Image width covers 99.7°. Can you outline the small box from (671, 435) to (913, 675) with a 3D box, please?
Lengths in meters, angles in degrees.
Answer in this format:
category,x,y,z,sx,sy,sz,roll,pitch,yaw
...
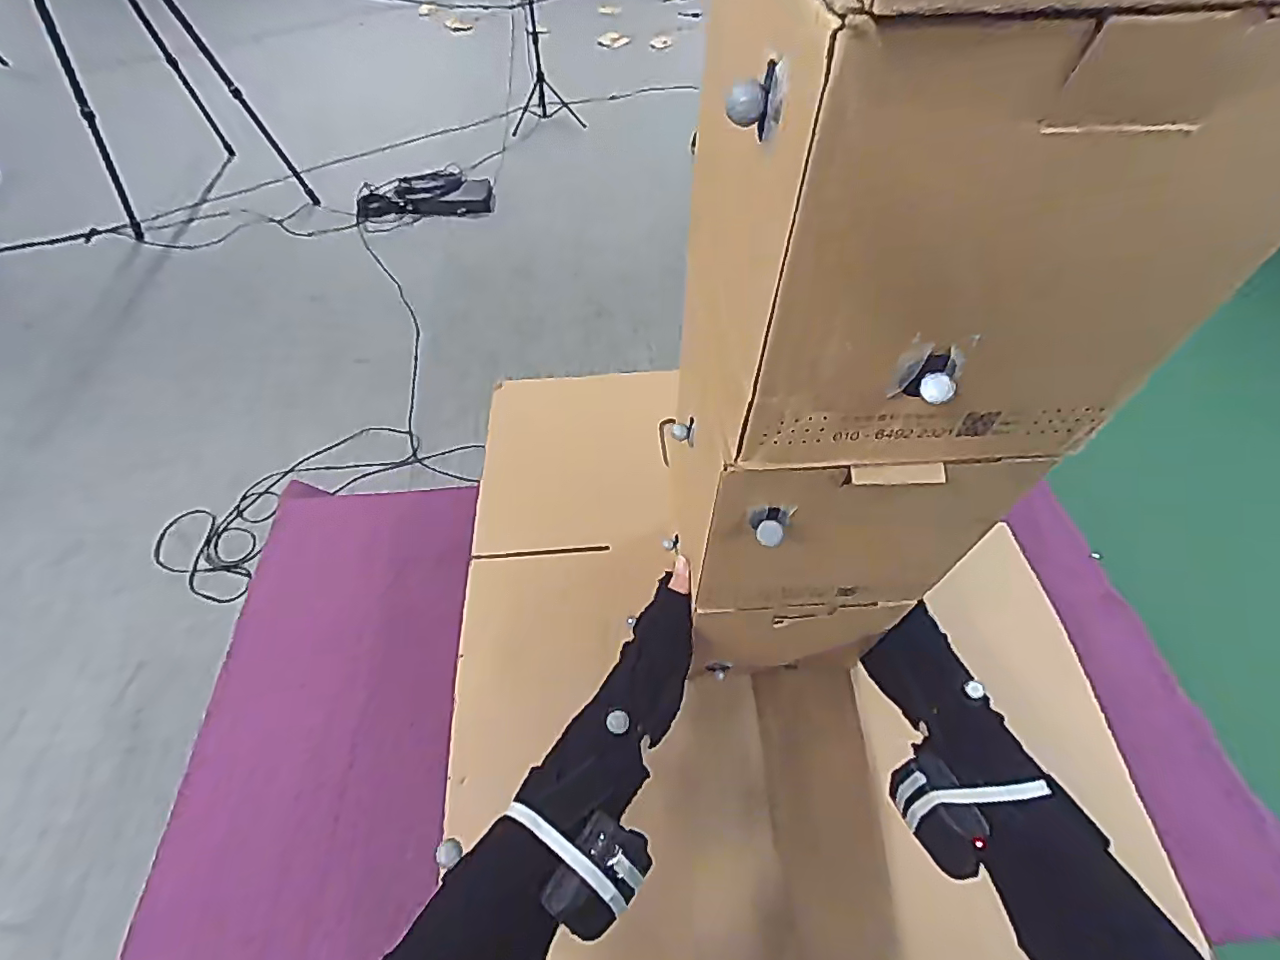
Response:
category,x,y,z,sx,sy,sz,roll,pitch,yaw
small box,0.118,0.075,0.505,0.168,0.176,0.179,-2,53,-1

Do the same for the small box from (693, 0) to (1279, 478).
category,x,y,z,sx,sy,sz,roll,pitch,yaw
small box,0.120,-0.120,0.242,0.168,0.176,0.179,-3,54,-2
